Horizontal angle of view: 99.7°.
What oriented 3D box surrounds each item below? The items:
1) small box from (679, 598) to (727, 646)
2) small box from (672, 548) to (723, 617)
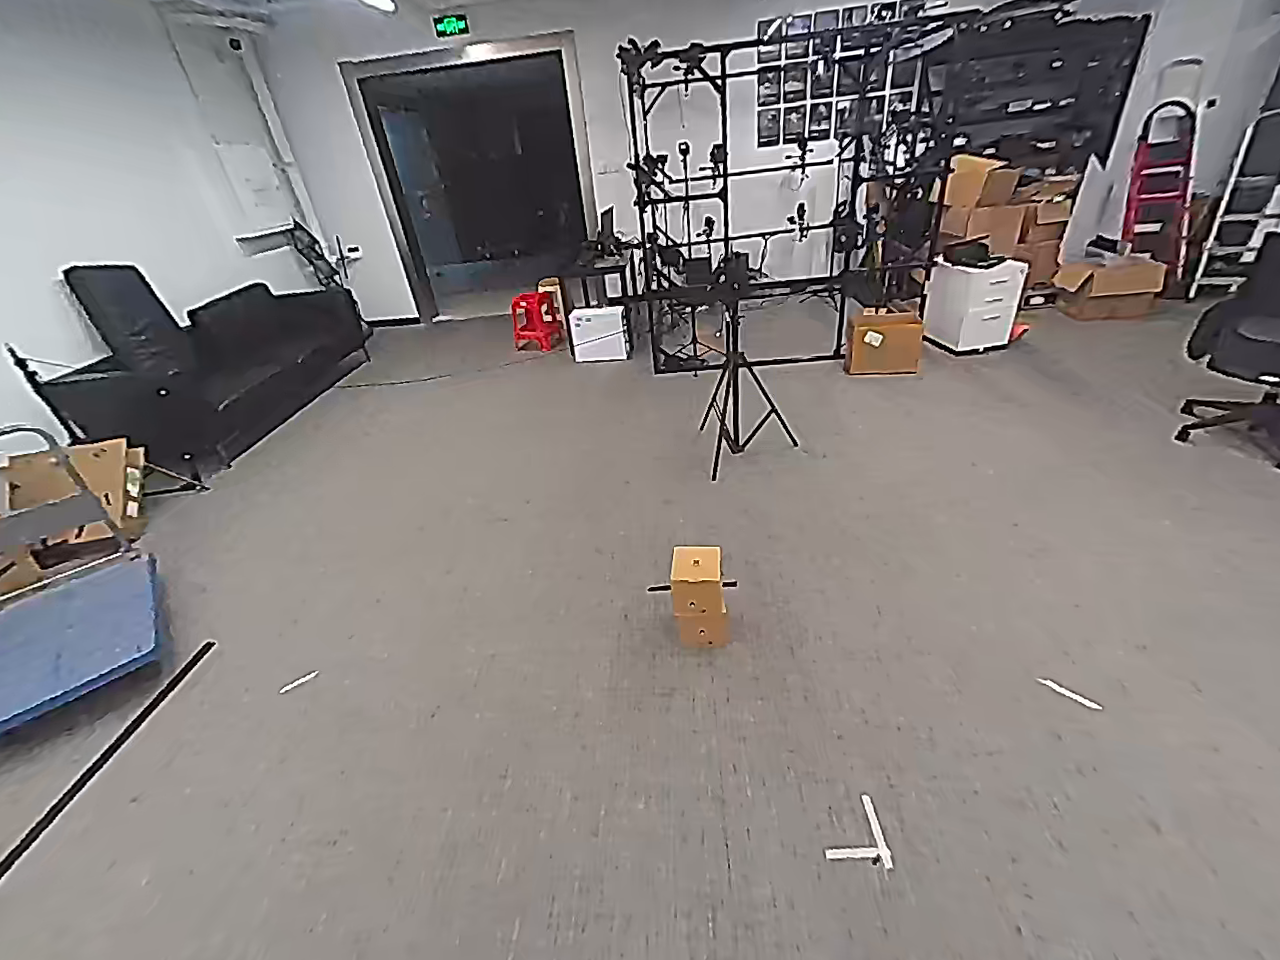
[{"bbox_3d":[0.227,0.491,1.976,0.168,0.176,0.179,-5,31,4],"label":"small box"},{"bbox_3d":[0.203,0.356,1.888,0.168,0.176,0.179,-2,32,10],"label":"small box"}]
